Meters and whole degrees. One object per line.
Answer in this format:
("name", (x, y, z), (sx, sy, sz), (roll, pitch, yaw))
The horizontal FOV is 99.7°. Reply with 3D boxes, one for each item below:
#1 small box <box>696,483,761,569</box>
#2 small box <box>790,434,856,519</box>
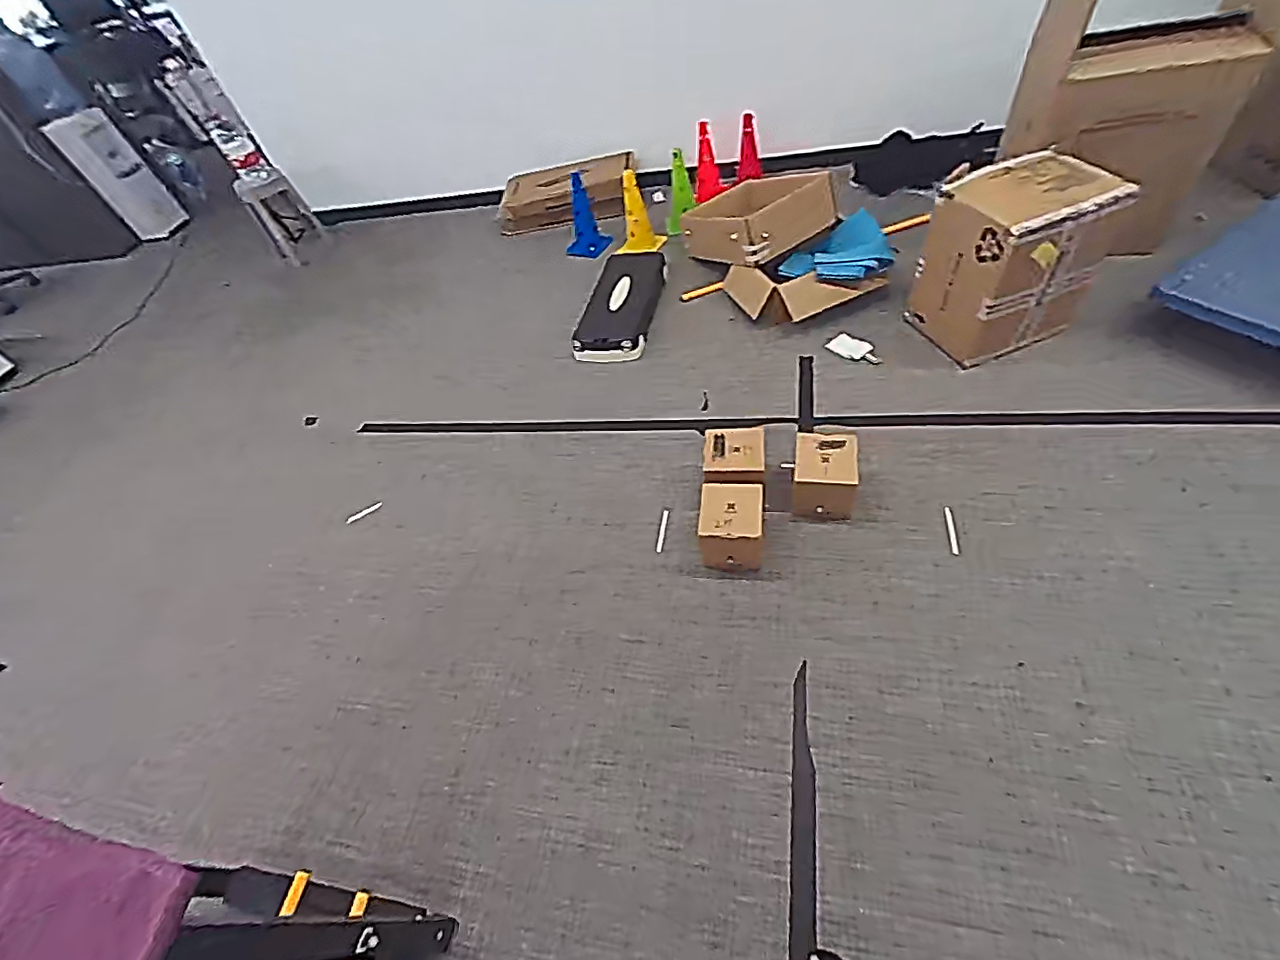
("small box", (0.252, 0.127, 1.507), (0.168, 0.176, 0.179), (0, 52, 14))
("small box", (0.523, -0.011, 1.558), (0.168, 0.176, 0.179), (3, 54, 15))
